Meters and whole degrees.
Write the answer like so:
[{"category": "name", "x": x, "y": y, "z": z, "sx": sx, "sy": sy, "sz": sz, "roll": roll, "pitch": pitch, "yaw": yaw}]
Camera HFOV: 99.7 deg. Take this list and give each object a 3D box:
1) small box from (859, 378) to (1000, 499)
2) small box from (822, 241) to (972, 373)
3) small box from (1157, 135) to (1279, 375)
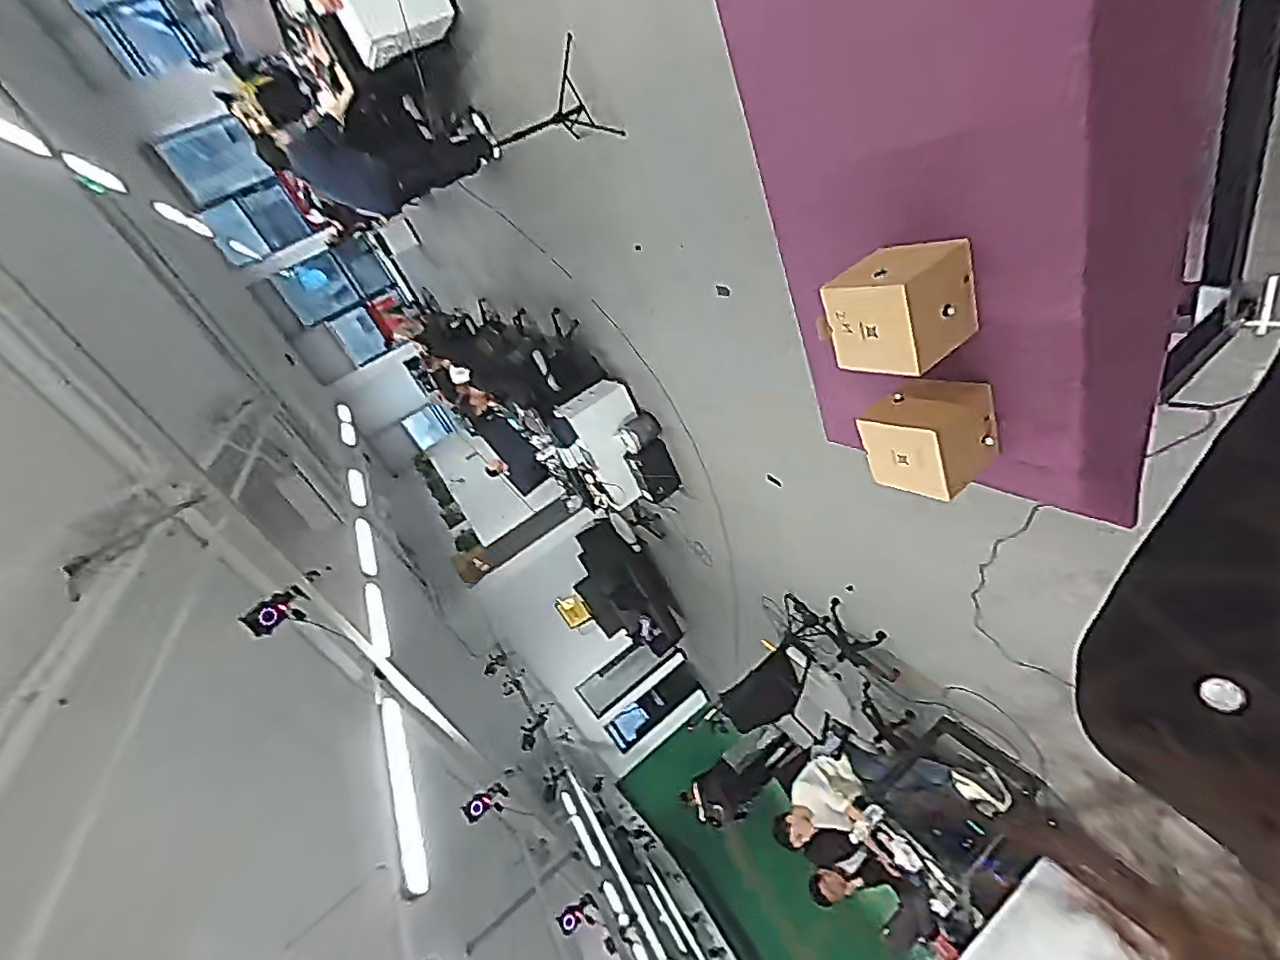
[{"category": "small box", "x": 0.581, "y": -0.092, "z": 1.088, "sx": 0.179, "sy": 0.176, "sz": 0.168, "roll": 28, "pitch": 150, "yaw": 59}, {"category": "small box", "x": 0.465, "y": -0.311, "z": 0.969, "sx": 0.179, "sy": 0.176, "sz": 0.168, "roll": 30, "pitch": 150, "yaw": 57}, {"category": "small box", "x": 0.540, "y": -0.165, "z": 0.385, "sx": 0.176, "sy": 0.168, "sz": 0.179, "roll": 27, "pitch": 127, "yaw": 22}]
